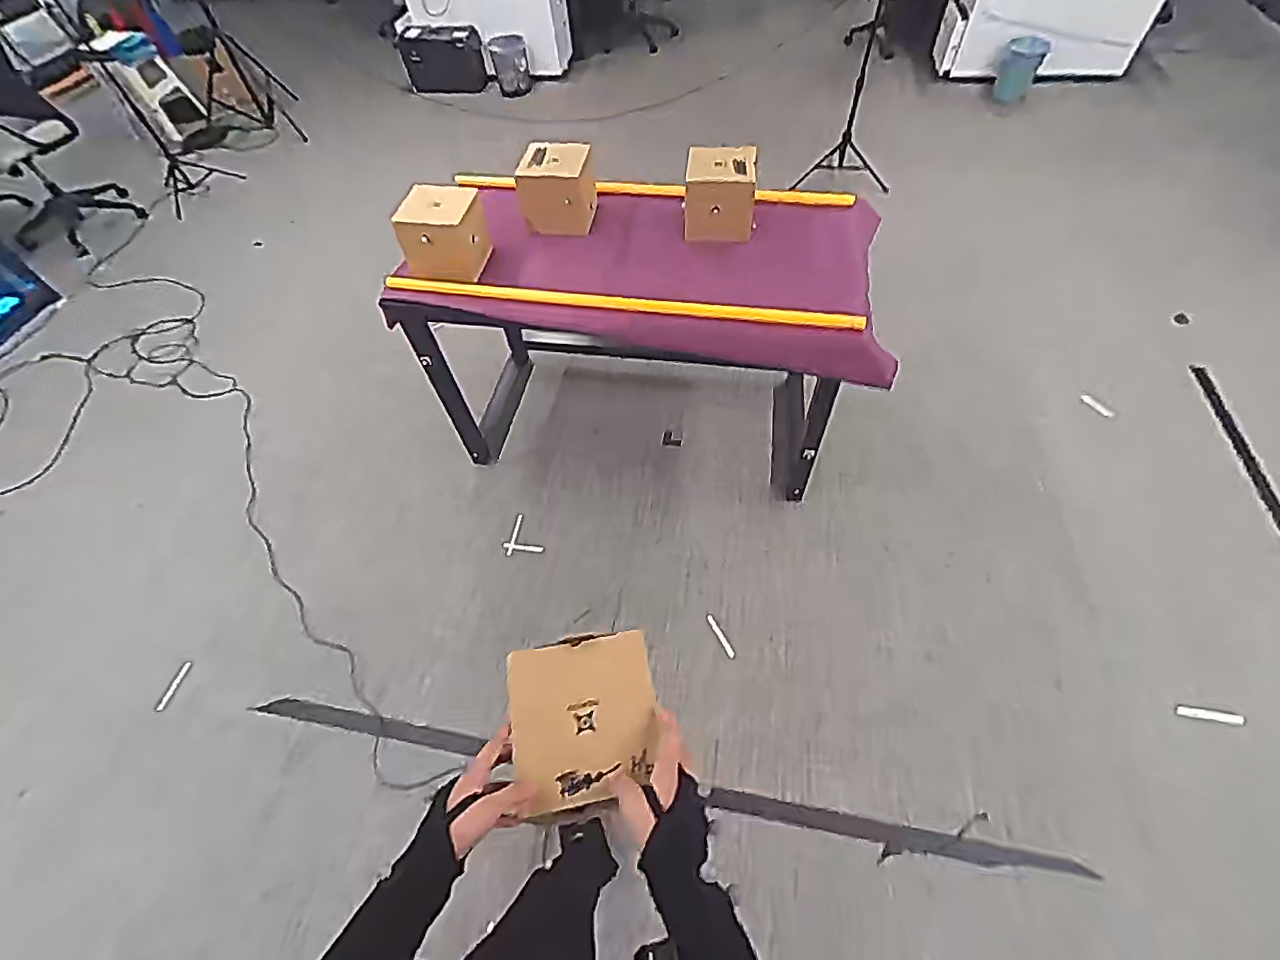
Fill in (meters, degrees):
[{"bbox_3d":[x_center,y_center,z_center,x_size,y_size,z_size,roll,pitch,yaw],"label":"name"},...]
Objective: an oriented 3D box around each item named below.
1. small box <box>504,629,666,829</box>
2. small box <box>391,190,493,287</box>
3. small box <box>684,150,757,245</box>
[{"bbox_3d":[-0.069,0.308,0.665,0.168,0.176,0.179,-9,55,-7],"label":"small box"},{"bbox_3d":[-0.501,-0.623,1.402,0.179,0.176,0.168,6,56,7],"label":"small box"},{"bbox_3d":[0.212,-0.745,1.433,0.179,0.176,0.168,4,57,8],"label":"small box"}]
